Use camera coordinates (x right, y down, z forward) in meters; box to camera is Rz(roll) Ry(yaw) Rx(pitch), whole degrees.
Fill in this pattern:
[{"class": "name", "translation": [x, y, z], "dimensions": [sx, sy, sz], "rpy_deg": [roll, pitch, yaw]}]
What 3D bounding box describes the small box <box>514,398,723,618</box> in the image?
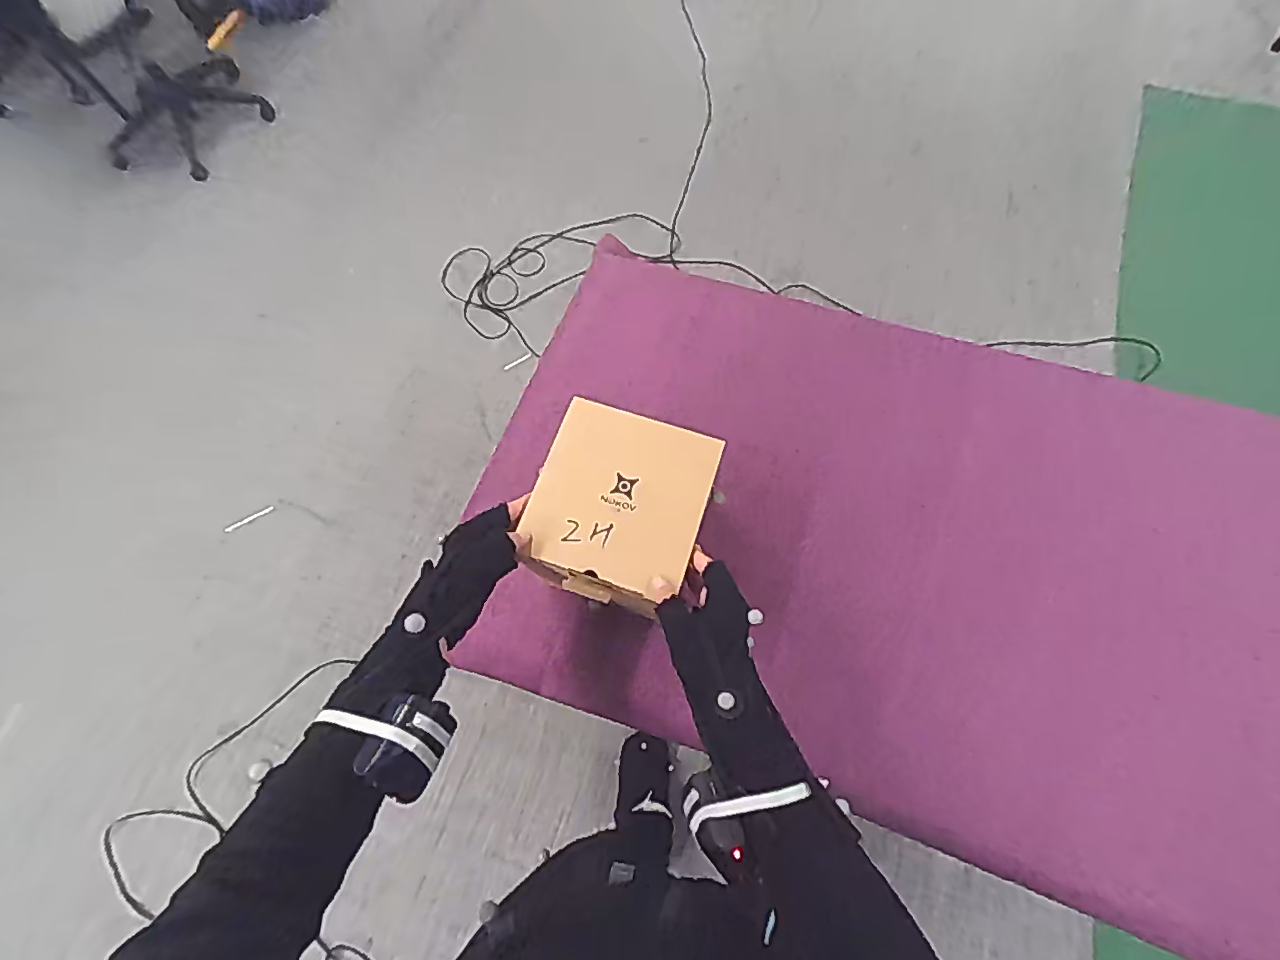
[{"class": "small box", "translation": [-0.018, 0.041, 0.609], "dimensions": [0.168, 0.176, 0.179], "rpy_deg": [17, 71, 7]}]
